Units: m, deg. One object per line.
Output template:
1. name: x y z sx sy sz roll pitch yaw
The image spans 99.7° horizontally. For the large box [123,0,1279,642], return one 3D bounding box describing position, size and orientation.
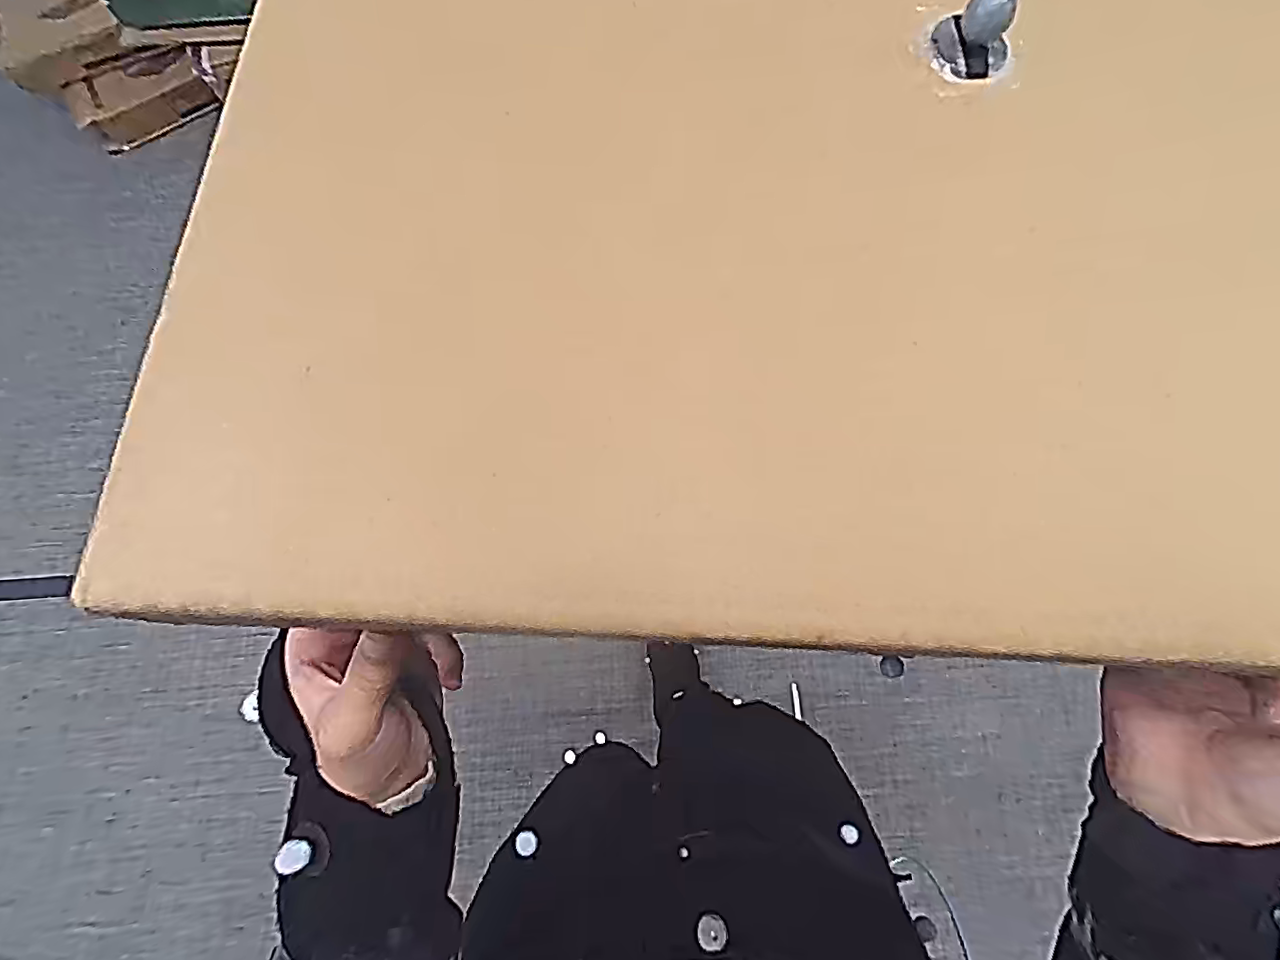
1. large box: 0.082 -0.085 0.299 0.408 0.320 0.320 2 77 -1
